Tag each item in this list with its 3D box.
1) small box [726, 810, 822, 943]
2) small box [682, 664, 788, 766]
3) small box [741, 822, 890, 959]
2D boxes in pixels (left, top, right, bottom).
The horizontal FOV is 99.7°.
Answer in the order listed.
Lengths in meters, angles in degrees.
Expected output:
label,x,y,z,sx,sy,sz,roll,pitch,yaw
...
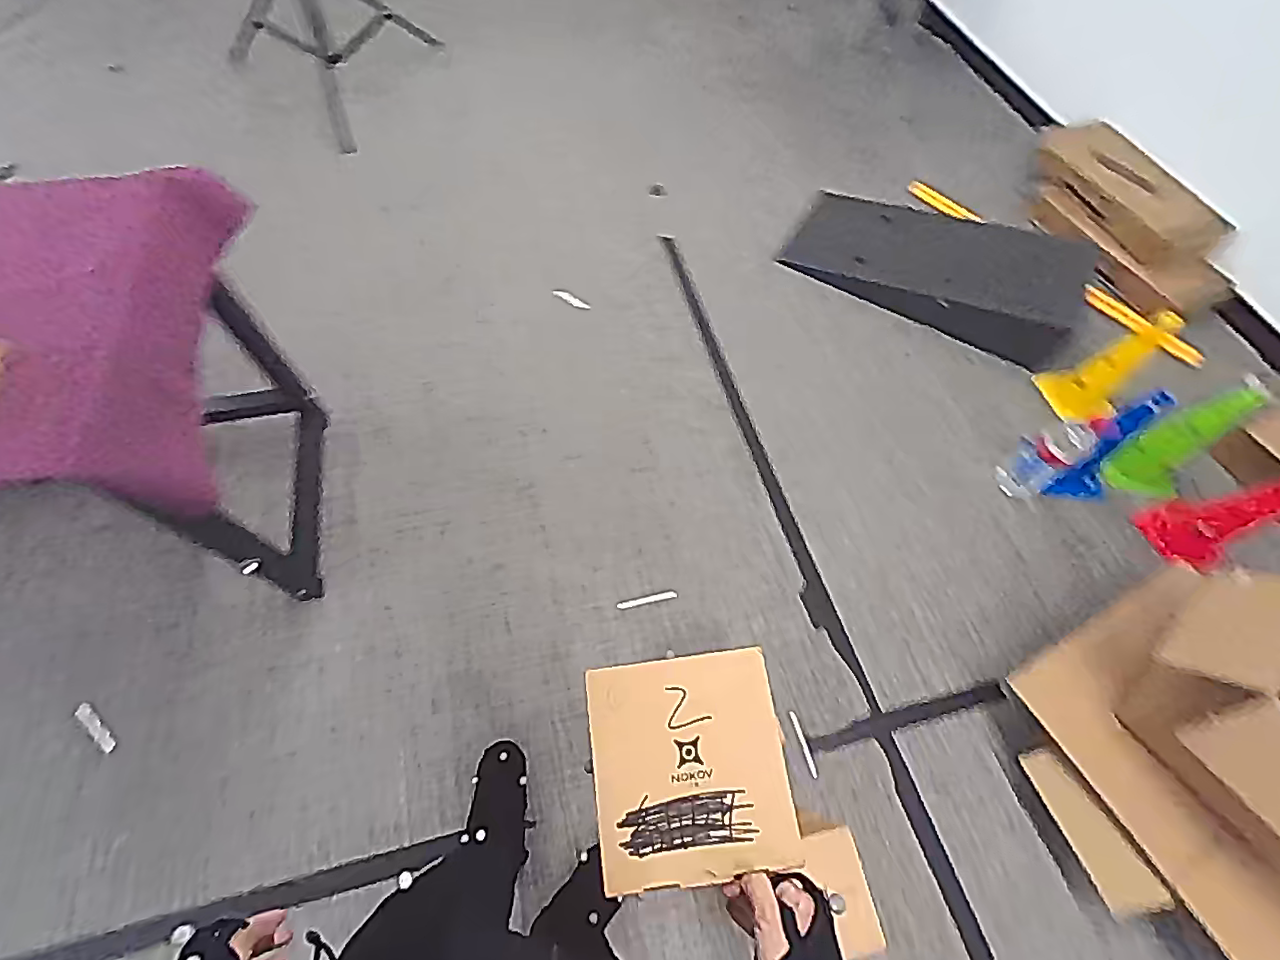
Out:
label,x,y,z,sx,sy,sz,roll,pitch,yaw
small box,0.280,0.775,1.073,0.168,0.176,0.179,-7,64,-7
small box,0.198,0.526,1.198,0.179,0.176,0.168,-12,64,-11
small box,0.282,0.702,0.924,0.179,0.176,0.168,-8,63,-8
